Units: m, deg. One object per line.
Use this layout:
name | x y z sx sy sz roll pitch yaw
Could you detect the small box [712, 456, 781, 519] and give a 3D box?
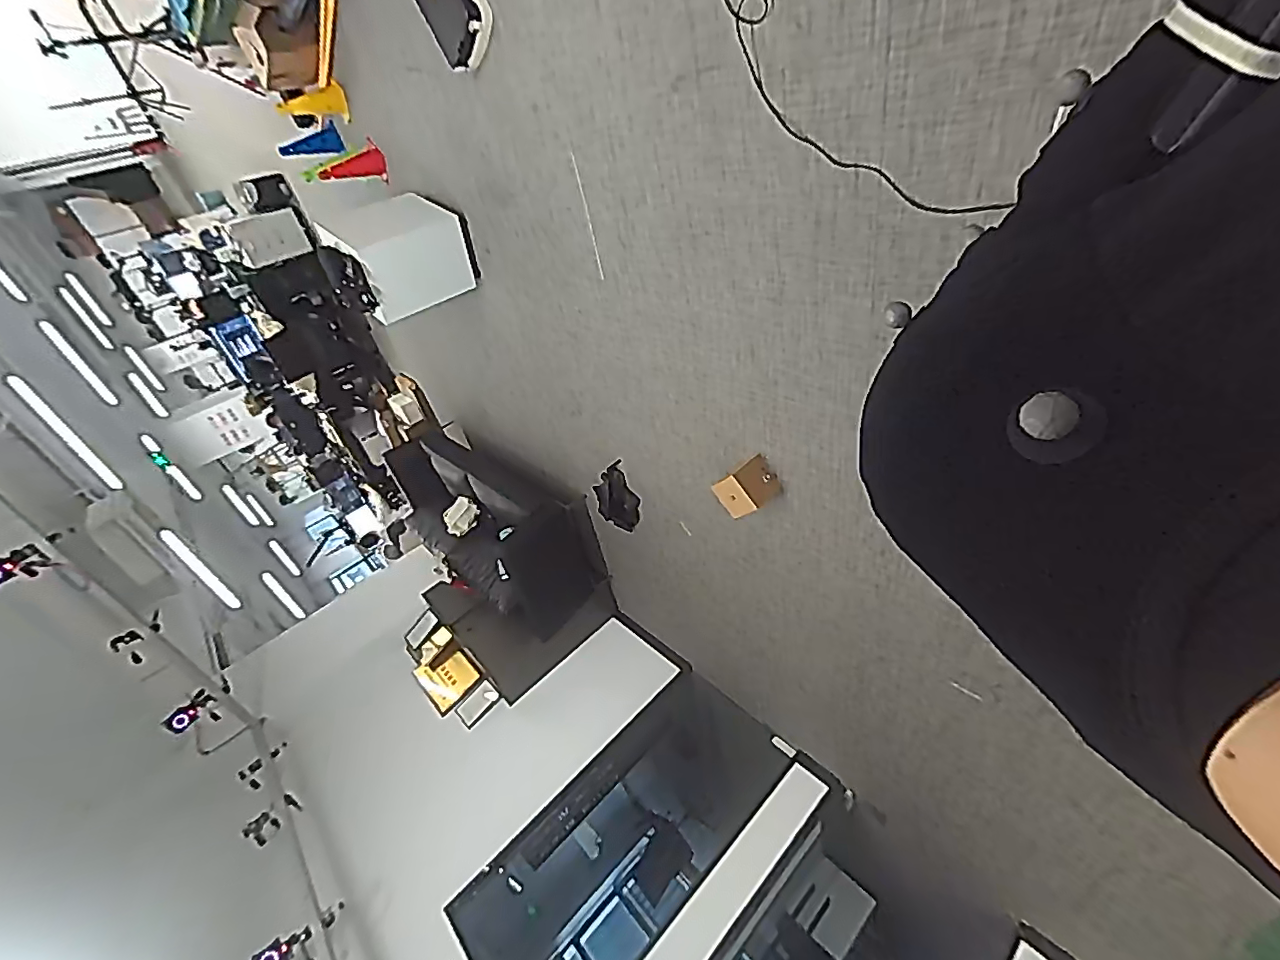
small box | 0.427 0.032 2.163 0.168 0.176 0.179 53 152 1
